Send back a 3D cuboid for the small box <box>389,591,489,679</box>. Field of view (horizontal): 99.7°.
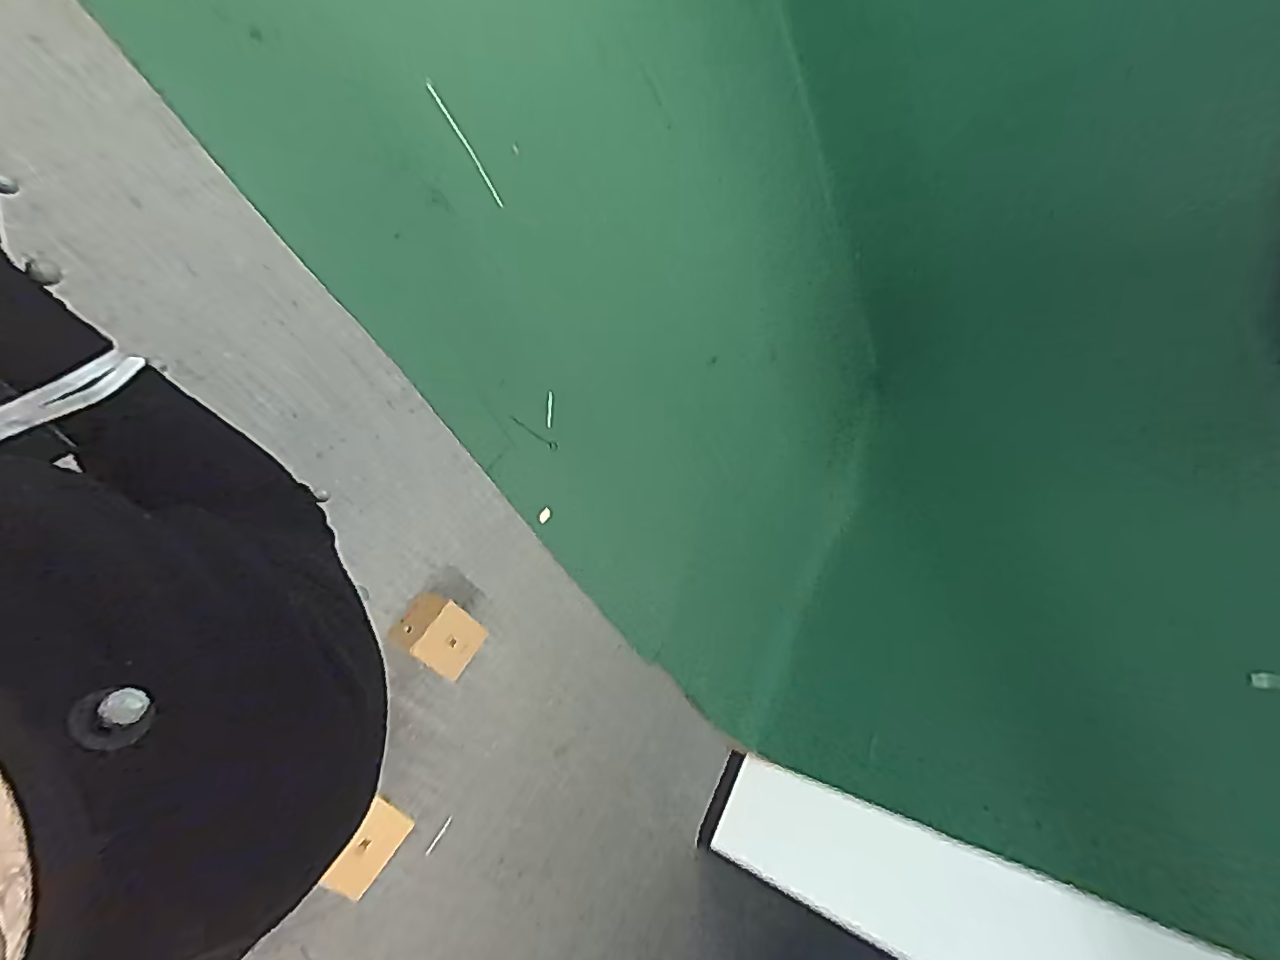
[{"bbox_3d":[-0.581,0.439,1.557,0.168,0.176,0.179,-55,129,-29],"label":"small box"}]

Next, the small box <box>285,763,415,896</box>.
[{"bbox_3d":[-0.667,0.791,1.241,0.179,0.176,0.168,-51,126,-33],"label":"small box"}]
